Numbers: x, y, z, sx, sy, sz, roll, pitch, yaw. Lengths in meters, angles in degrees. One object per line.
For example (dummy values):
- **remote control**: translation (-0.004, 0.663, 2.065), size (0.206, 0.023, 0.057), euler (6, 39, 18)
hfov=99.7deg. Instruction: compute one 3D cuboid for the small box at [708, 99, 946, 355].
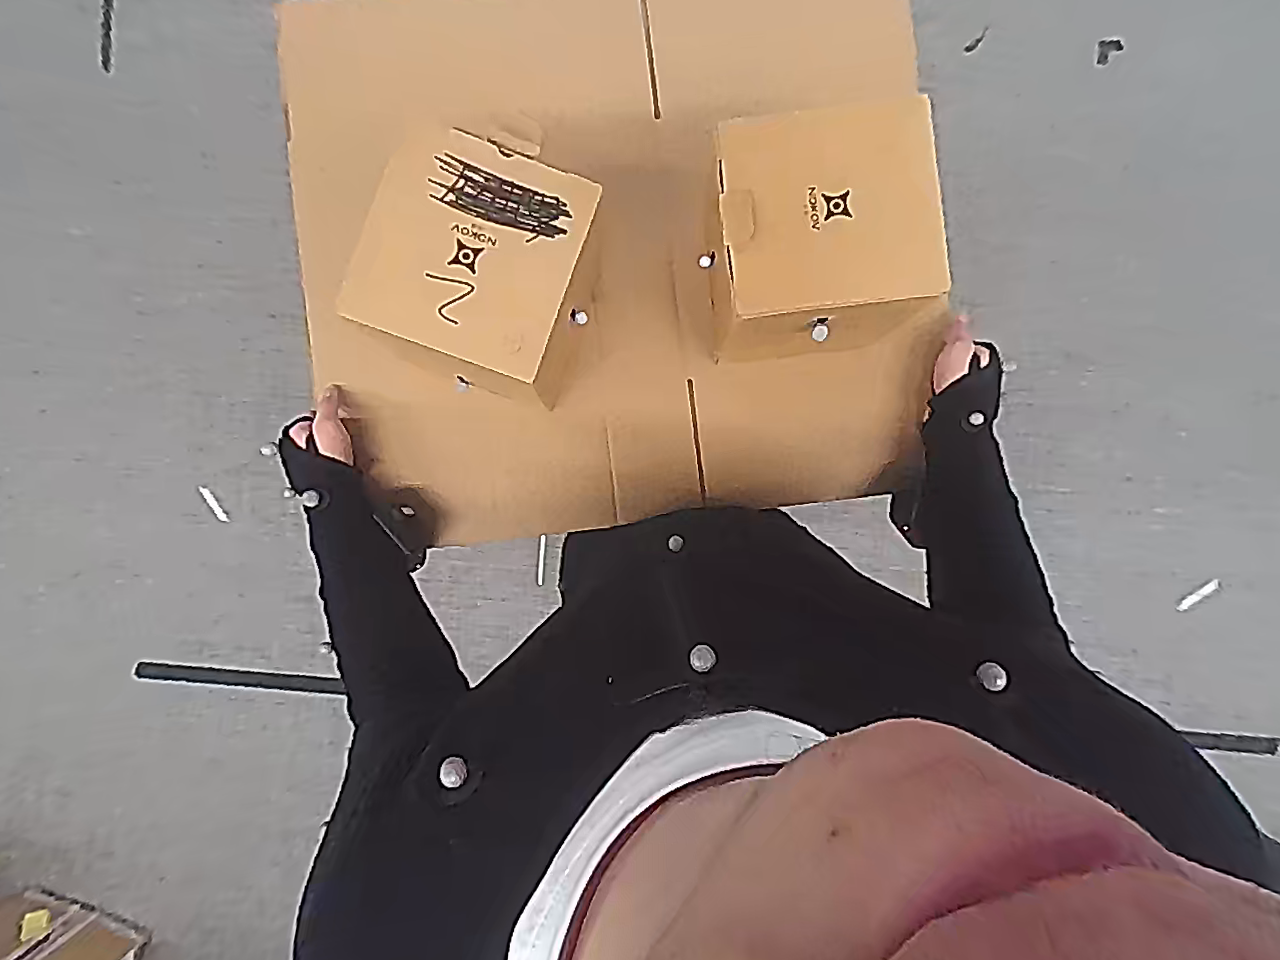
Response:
- **small box**: translation (0.167, -0.230, 0.536), size (0.179, 0.176, 0.168), euler (-6, 89, 3)
